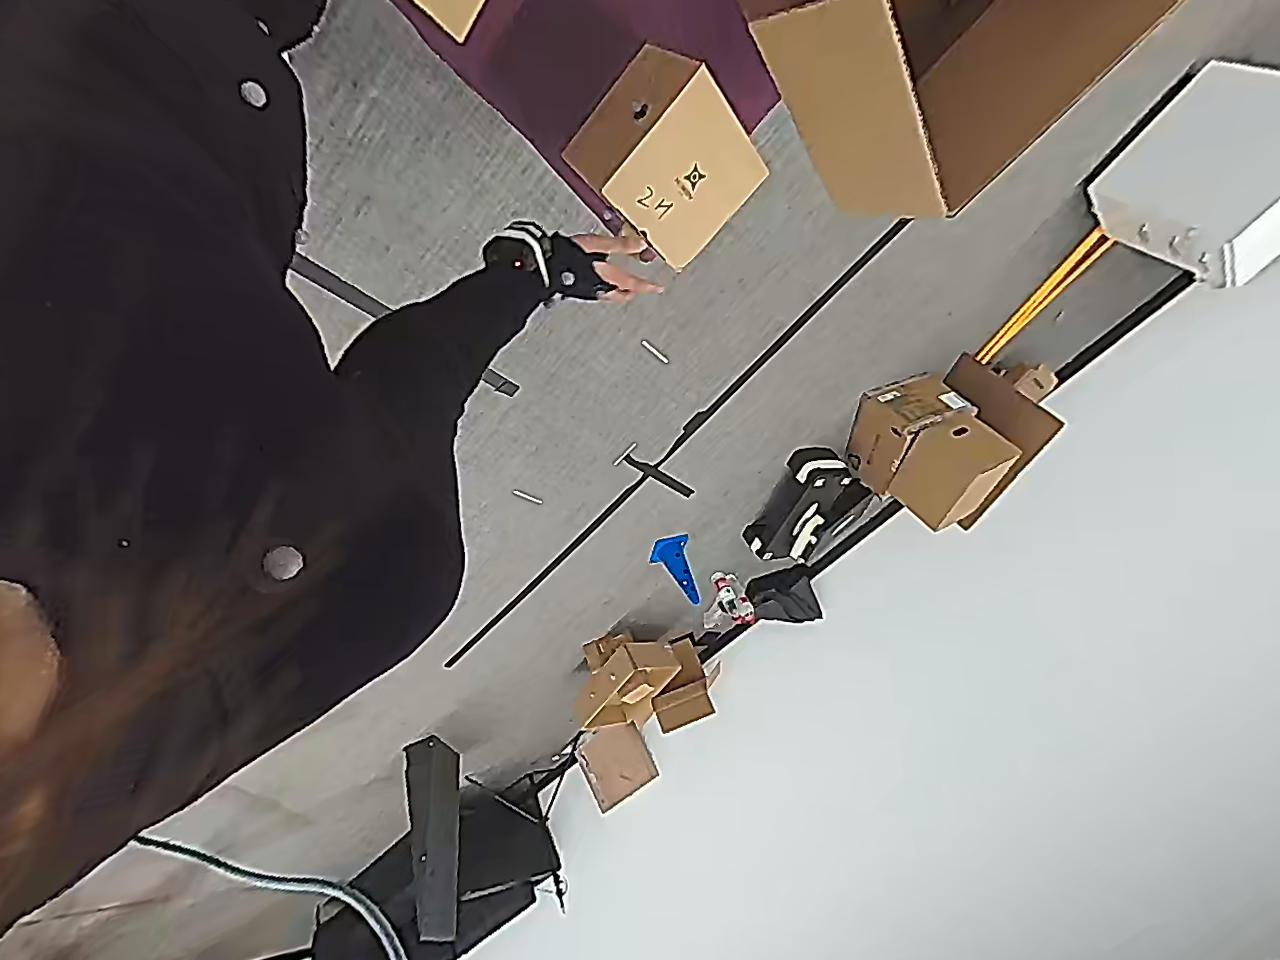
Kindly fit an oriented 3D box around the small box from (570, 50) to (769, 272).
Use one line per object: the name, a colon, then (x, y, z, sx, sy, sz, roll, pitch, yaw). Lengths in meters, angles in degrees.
small box: (0.032, -0.427, 0.725, 0.179, 0.176, 0.168, -44, 137, 17)
